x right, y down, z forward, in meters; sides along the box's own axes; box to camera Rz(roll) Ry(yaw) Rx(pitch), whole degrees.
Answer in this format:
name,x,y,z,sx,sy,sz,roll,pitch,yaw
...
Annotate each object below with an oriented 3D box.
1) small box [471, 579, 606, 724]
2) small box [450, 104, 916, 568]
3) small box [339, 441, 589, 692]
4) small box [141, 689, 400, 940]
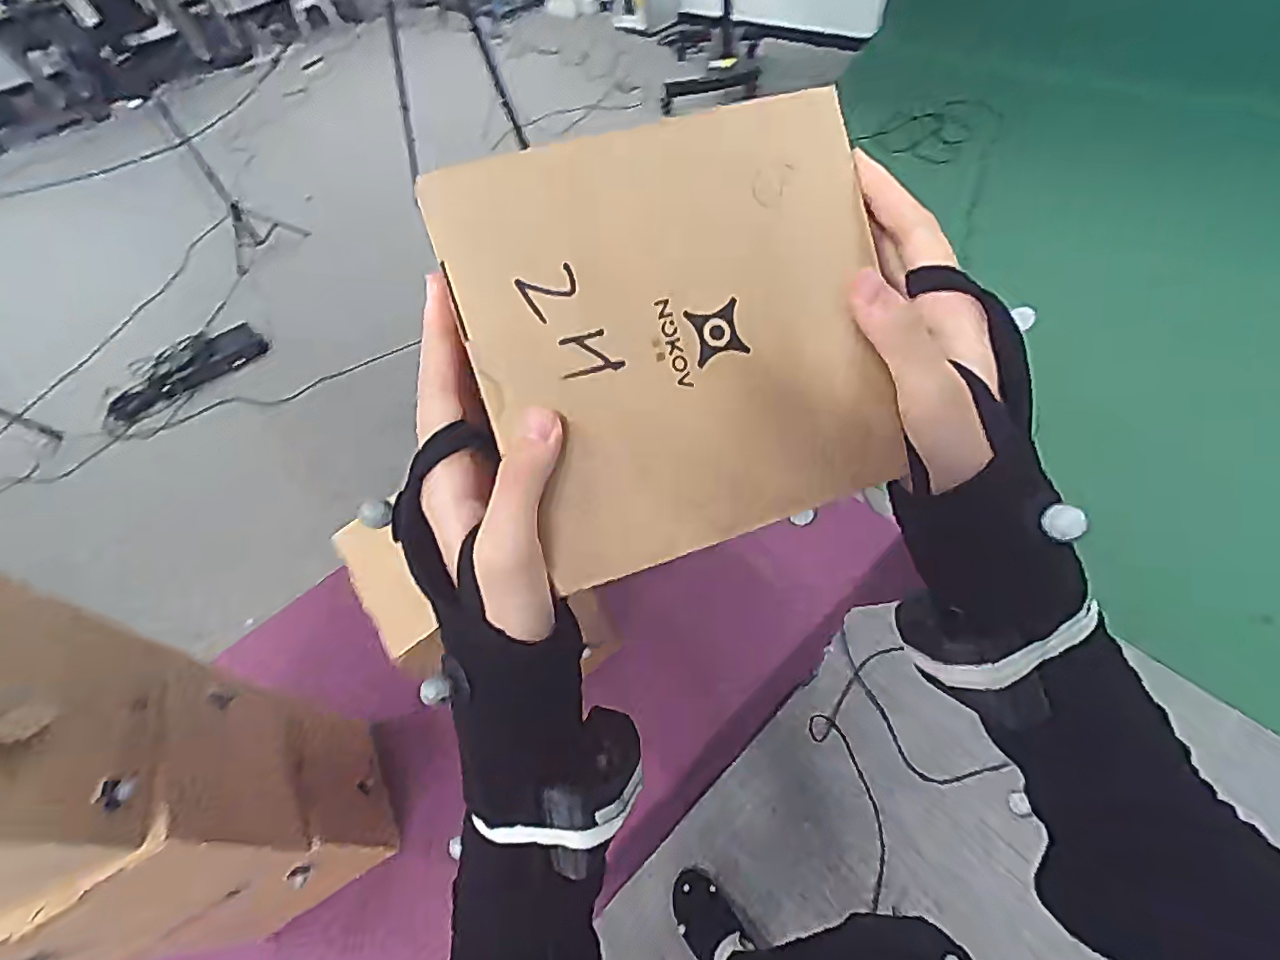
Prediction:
name,x,y,z,sx,sy,sz,roll,pitch,yaw
small box,-0.160,0.190,0.726,0.179,0.176,0.168,-38,57,-18
small box,0.013,-0.068,0.311,0.179,0.176,0.168,-18,95,-8
small box,-0.179,0.098,0.591,0.179,0.176,0.168,-36,57,-17
small box,-0.414,0.381,0.623,0.179,0.176,0.168,-29,55,-14
